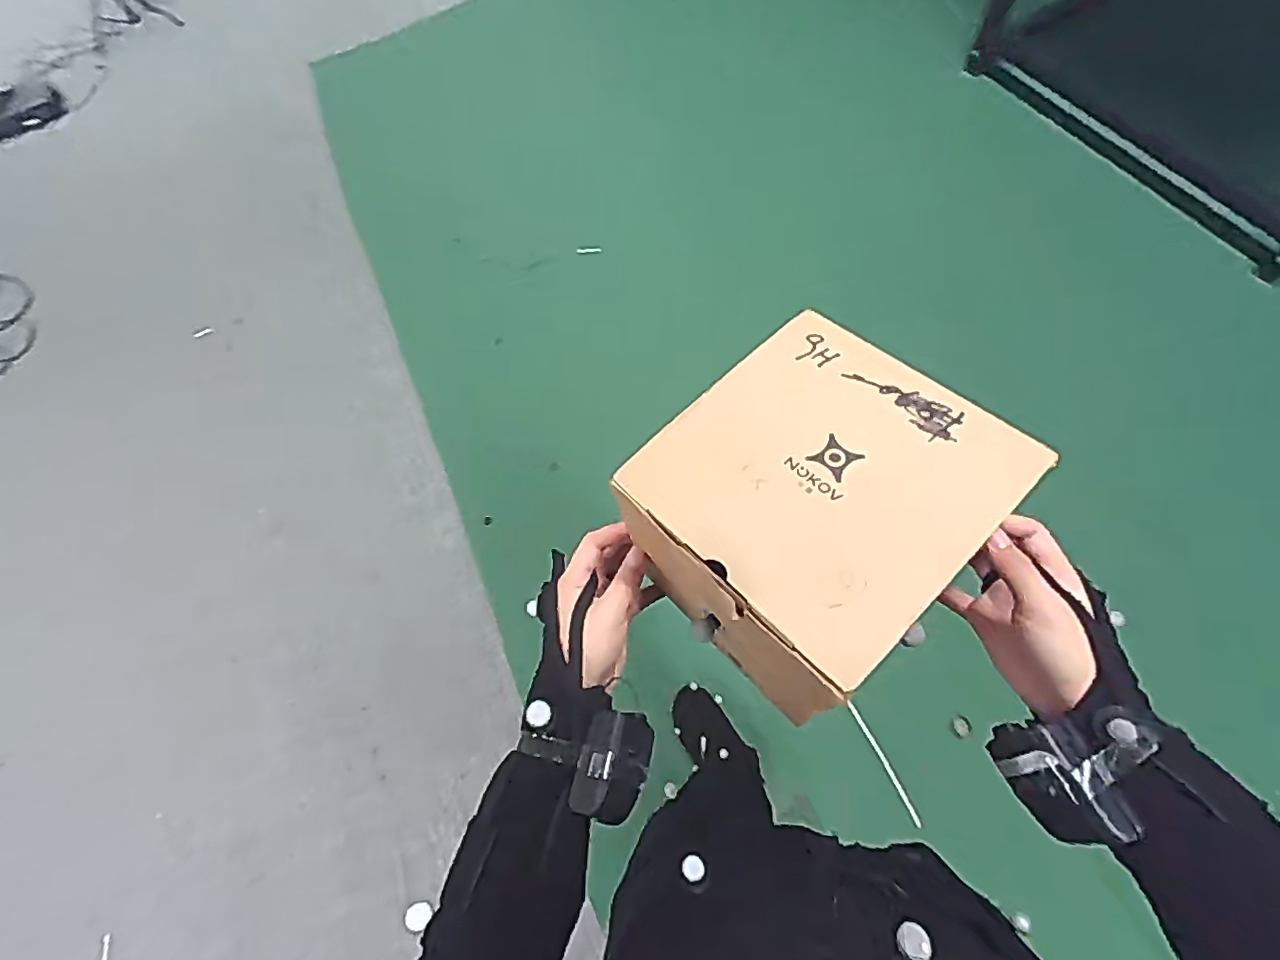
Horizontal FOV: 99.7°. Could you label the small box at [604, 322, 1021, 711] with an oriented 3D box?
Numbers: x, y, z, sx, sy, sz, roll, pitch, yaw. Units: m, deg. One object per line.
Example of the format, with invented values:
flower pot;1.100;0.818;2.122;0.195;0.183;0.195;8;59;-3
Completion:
small box;0.105;0.035;0.377;0.179;0.176;0.168;-42;64;-14
